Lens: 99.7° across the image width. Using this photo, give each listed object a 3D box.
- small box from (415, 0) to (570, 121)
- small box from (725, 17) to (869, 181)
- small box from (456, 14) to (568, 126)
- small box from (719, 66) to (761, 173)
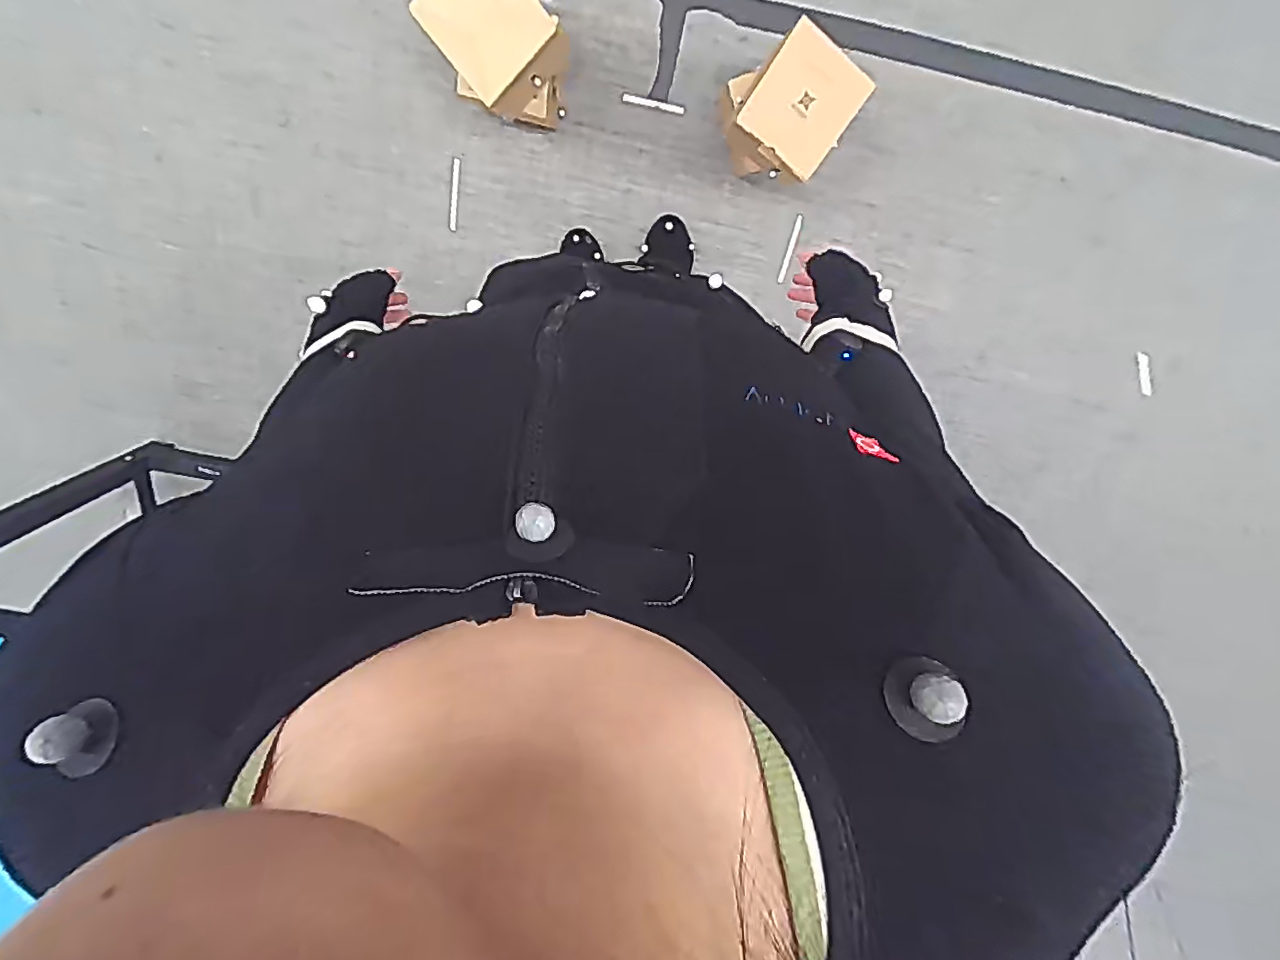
[{"bbox_3d":[-0.249,-0.771,0.933,0.168,0.176,0.179,-38,109,17],"label":"small box"},{"bbox_3d":[0.271,-0.672,0.984,0.168,0.176,0.179,32,112,-16],"label":"small box"},{"bbox_3d":[-0.250,-0.835,1.089,0.179,0.176,0.168,13,115,-5],"label":"small box"},{"bbox_3d":[0.269,-0.756,1.125,0.179,0.176,0.168,-16,117,9],"label":"small box"}]
